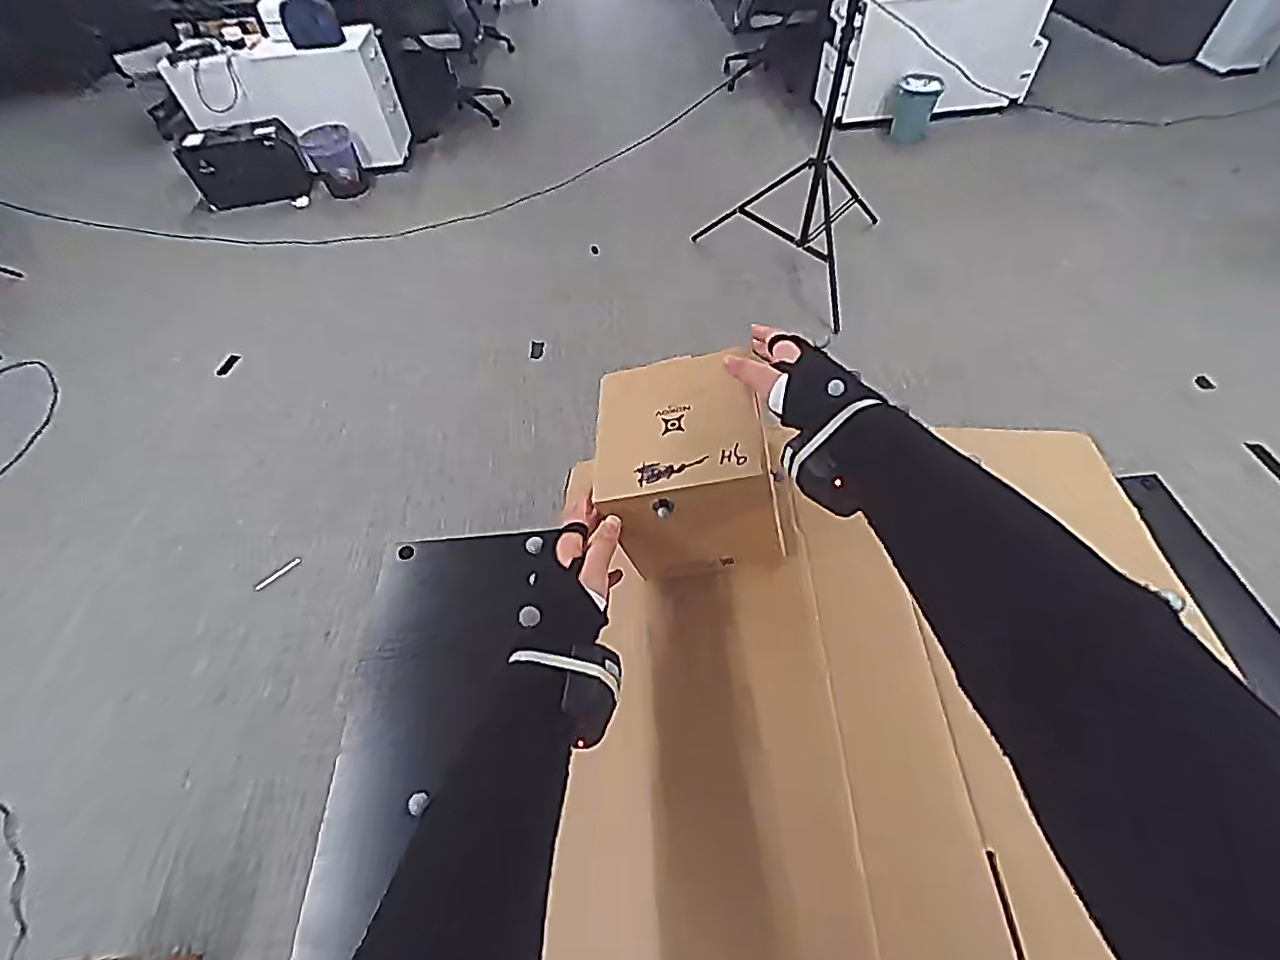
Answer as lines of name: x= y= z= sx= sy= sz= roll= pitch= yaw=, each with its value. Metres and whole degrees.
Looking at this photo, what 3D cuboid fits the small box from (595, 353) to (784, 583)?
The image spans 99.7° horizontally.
small box: x=0.061 y=-0.007 z=0.601 sx=0.168 sy=0.176 sz=0.179 roll=-10 pitch=50 yaw=15
